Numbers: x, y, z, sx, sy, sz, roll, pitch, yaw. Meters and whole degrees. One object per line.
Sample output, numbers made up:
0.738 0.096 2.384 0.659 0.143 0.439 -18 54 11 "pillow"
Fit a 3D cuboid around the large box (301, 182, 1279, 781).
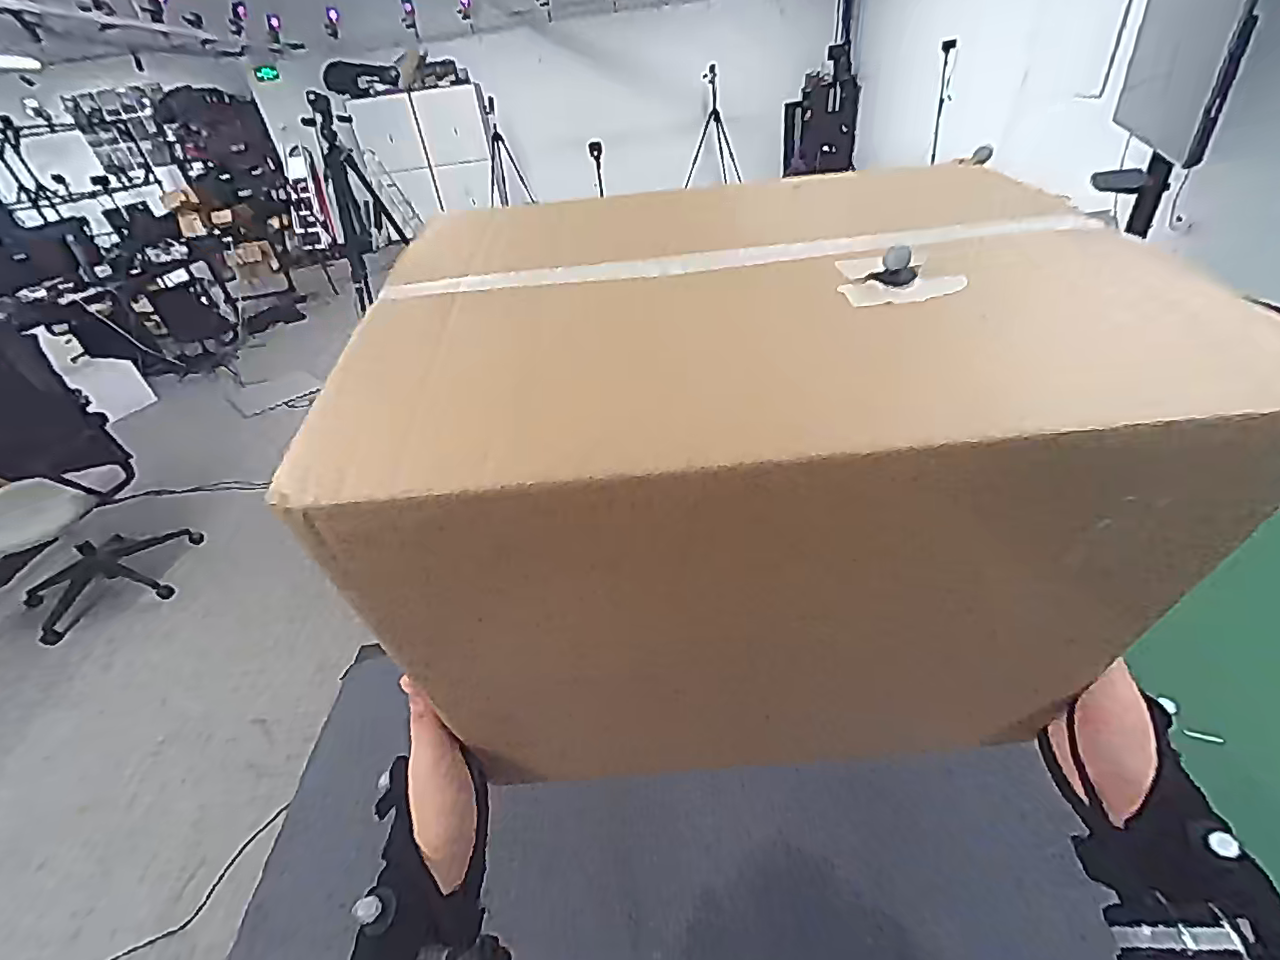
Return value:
0.063 0.000 0.417 0.408 0.320 0.320 -6 45 0 "large box"
